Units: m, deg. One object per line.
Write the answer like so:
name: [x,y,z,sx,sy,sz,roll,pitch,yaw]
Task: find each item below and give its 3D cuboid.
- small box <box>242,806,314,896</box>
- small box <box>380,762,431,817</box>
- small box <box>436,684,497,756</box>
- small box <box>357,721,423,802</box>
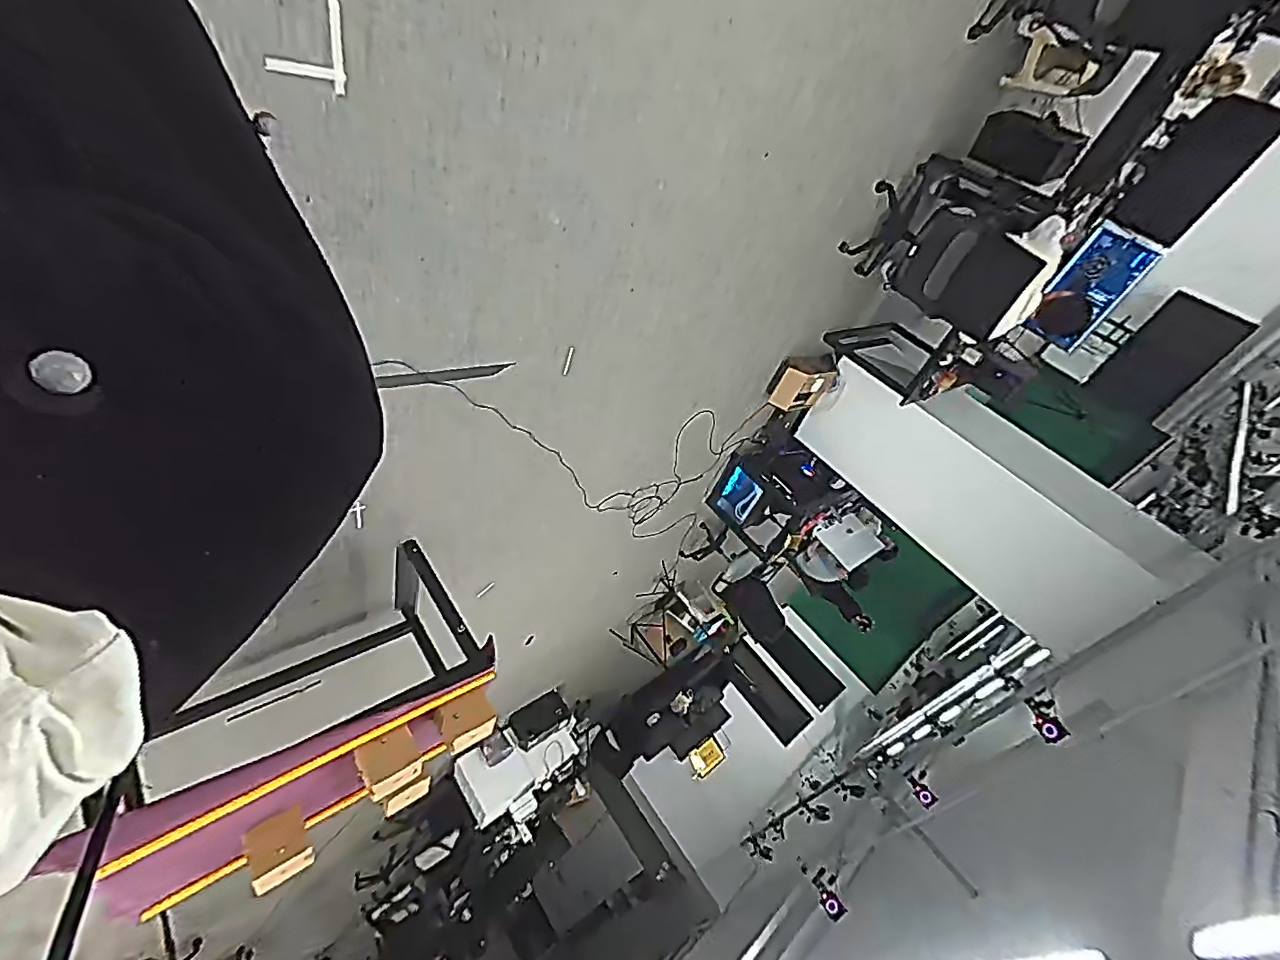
small box: [-1.269,1.295,1.894,0.179,0.176,0.168,-18,143,-41]
small box: [-0.960,1.199,2.167,0.168,0.176,0.179,-18,142,-41]
small box: [-0.699,0.955,2.158,0.179,0.176,0.168,-16,144,-38]
small box: [-0.915,1.020,1.967,0.179,0.176,0.168,-18,145,-39]
